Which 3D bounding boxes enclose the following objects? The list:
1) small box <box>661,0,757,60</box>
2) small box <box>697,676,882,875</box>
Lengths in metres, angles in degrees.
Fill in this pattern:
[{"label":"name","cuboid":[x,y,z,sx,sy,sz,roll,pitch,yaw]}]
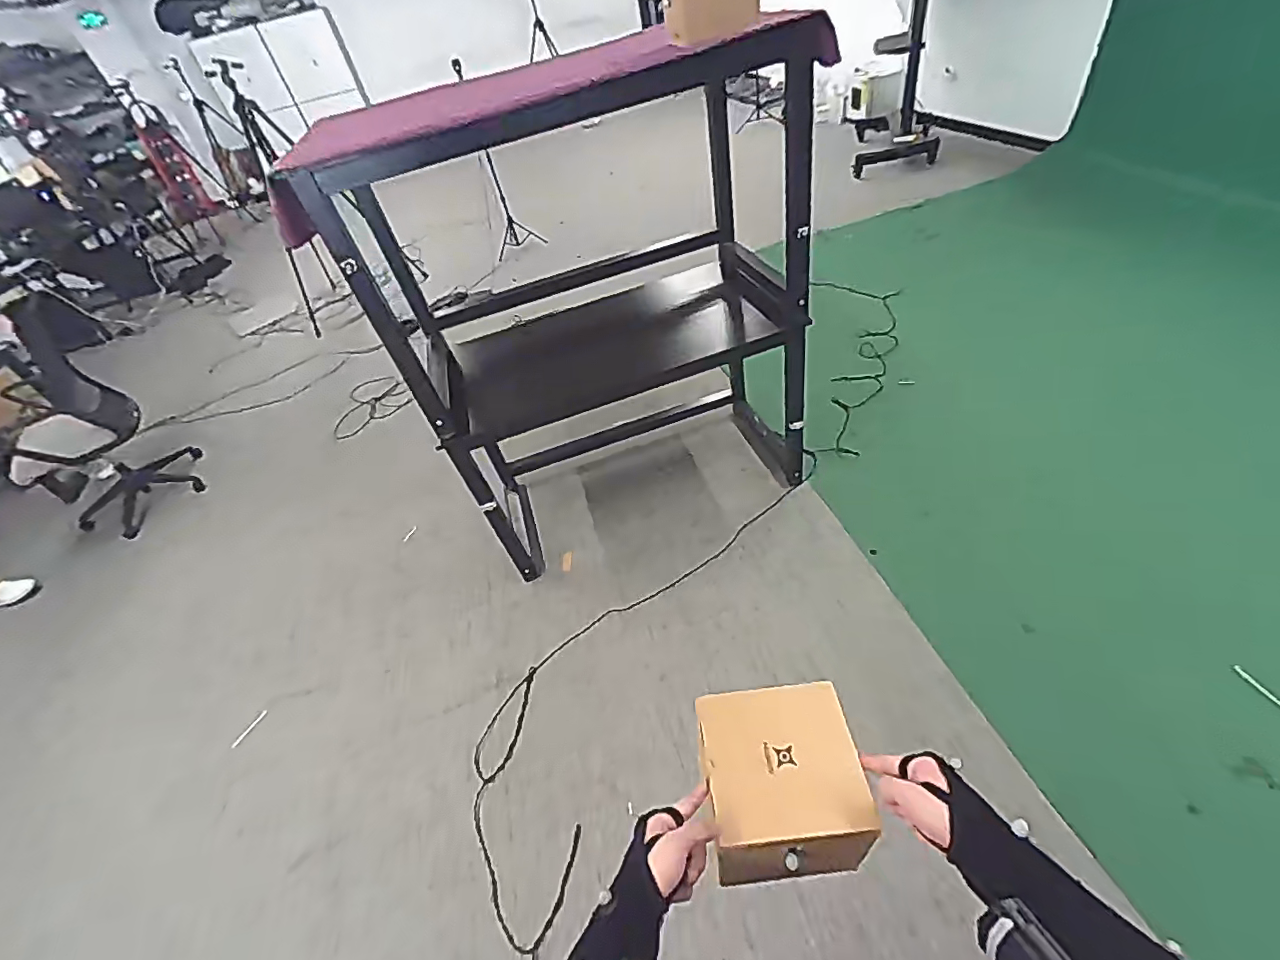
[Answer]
[{"label":"small box","cuboid":[0.147,-1.058,1.197,0.179,0.176,0.168,-17,44,-1]},{"label":"small box","cuboid":[0.171,0.369,0.675,0.179,0.176,0.168,-9,42,2]}]
